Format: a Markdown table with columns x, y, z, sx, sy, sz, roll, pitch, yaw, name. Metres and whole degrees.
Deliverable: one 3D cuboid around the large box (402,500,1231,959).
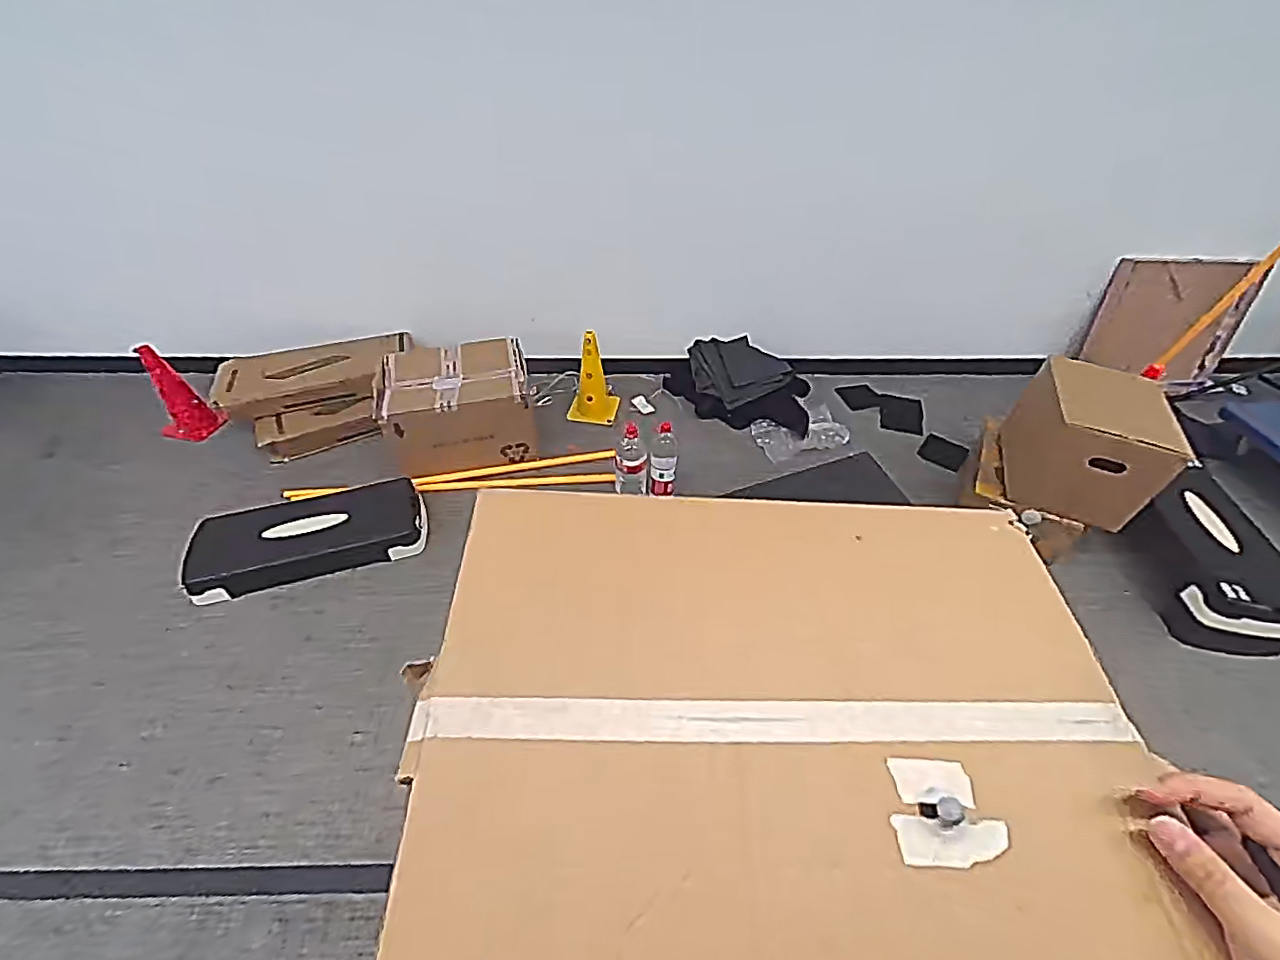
| x | y | z | sx | sy | sz | roll | pitch | yaw | name |
| --- | --- | --- | --- | --- | --- | --- | --- | --- | --- |
| 0.073 | 0.235 | 0.431 | 0.408 | 0.320 | 0.320 | 3 | 51 | -5 | large box |
